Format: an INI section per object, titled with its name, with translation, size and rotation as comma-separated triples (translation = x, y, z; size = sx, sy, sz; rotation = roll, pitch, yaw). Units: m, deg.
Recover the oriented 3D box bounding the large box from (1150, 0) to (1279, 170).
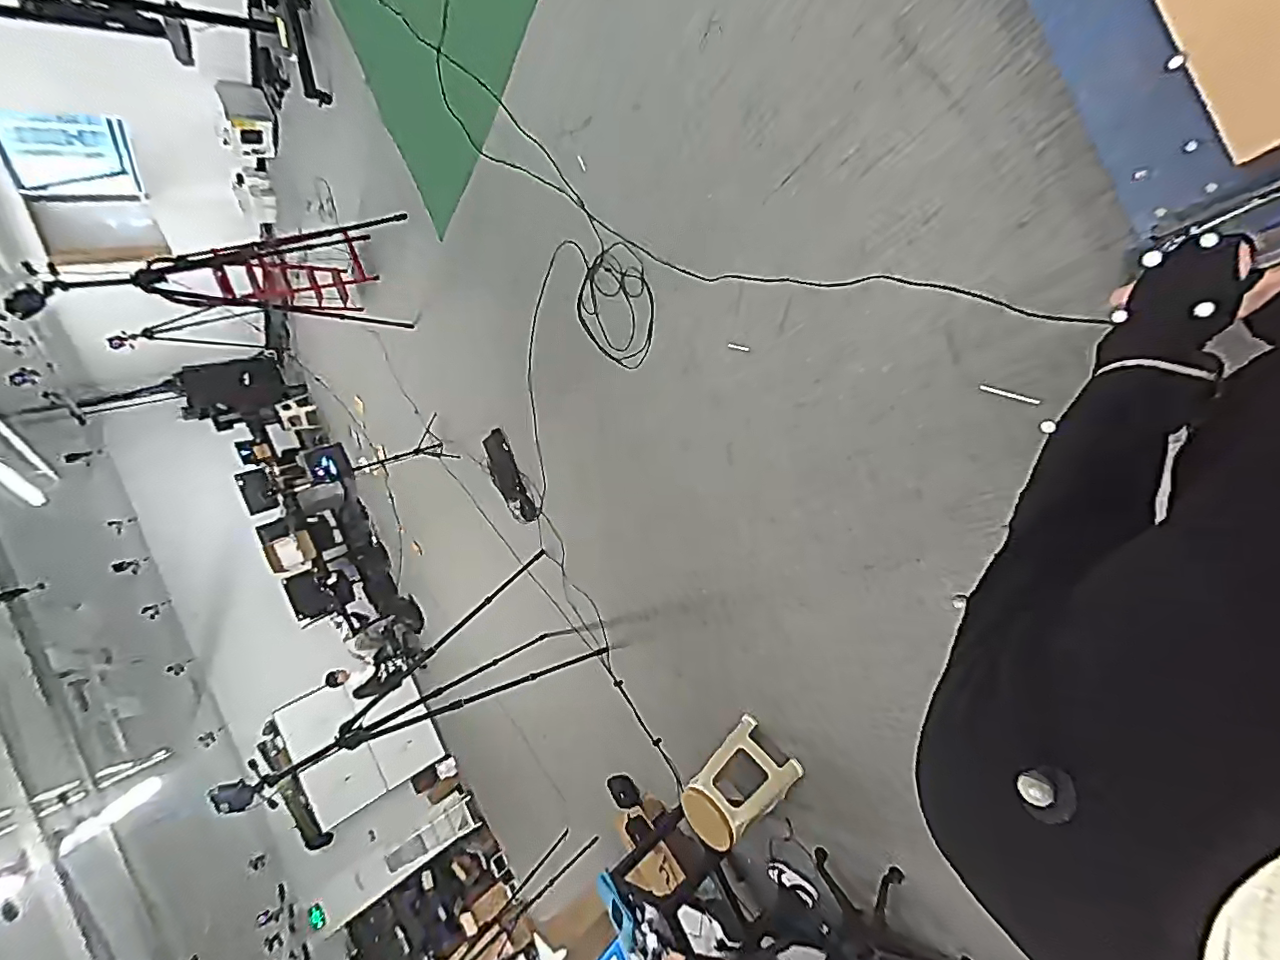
[large box]
translation = 0.927, -0.695, 0.712
size = 0.320, 0.320, 0.408
rotation = -26, 87, 52
